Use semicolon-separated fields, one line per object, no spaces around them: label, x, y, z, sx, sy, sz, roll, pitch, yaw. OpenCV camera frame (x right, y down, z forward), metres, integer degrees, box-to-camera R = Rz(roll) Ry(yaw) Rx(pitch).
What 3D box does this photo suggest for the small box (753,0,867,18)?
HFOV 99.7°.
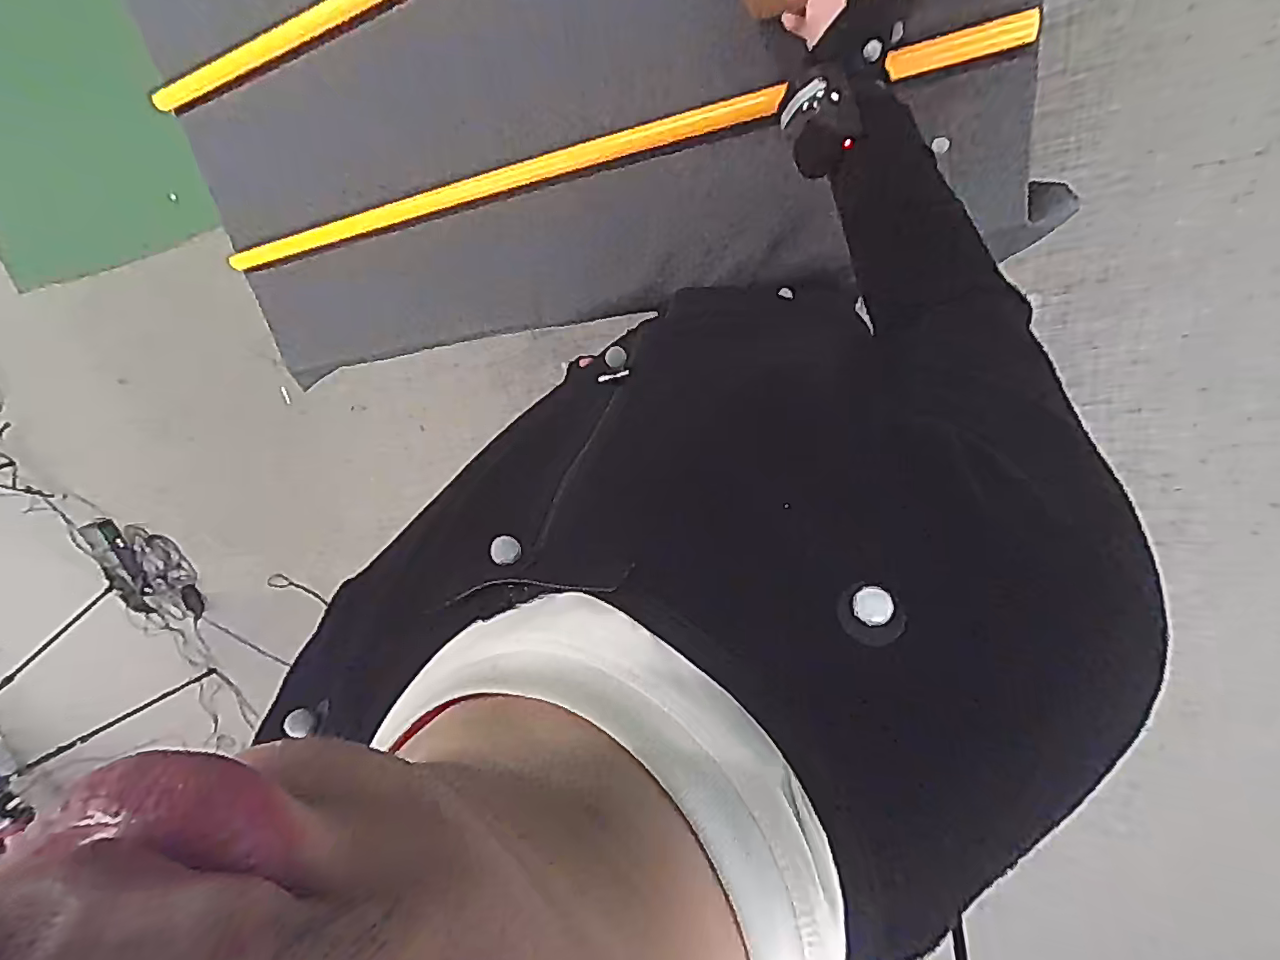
small box;0.173;-0.541;0.468;0.168;0.176;0.179;7;113;25
